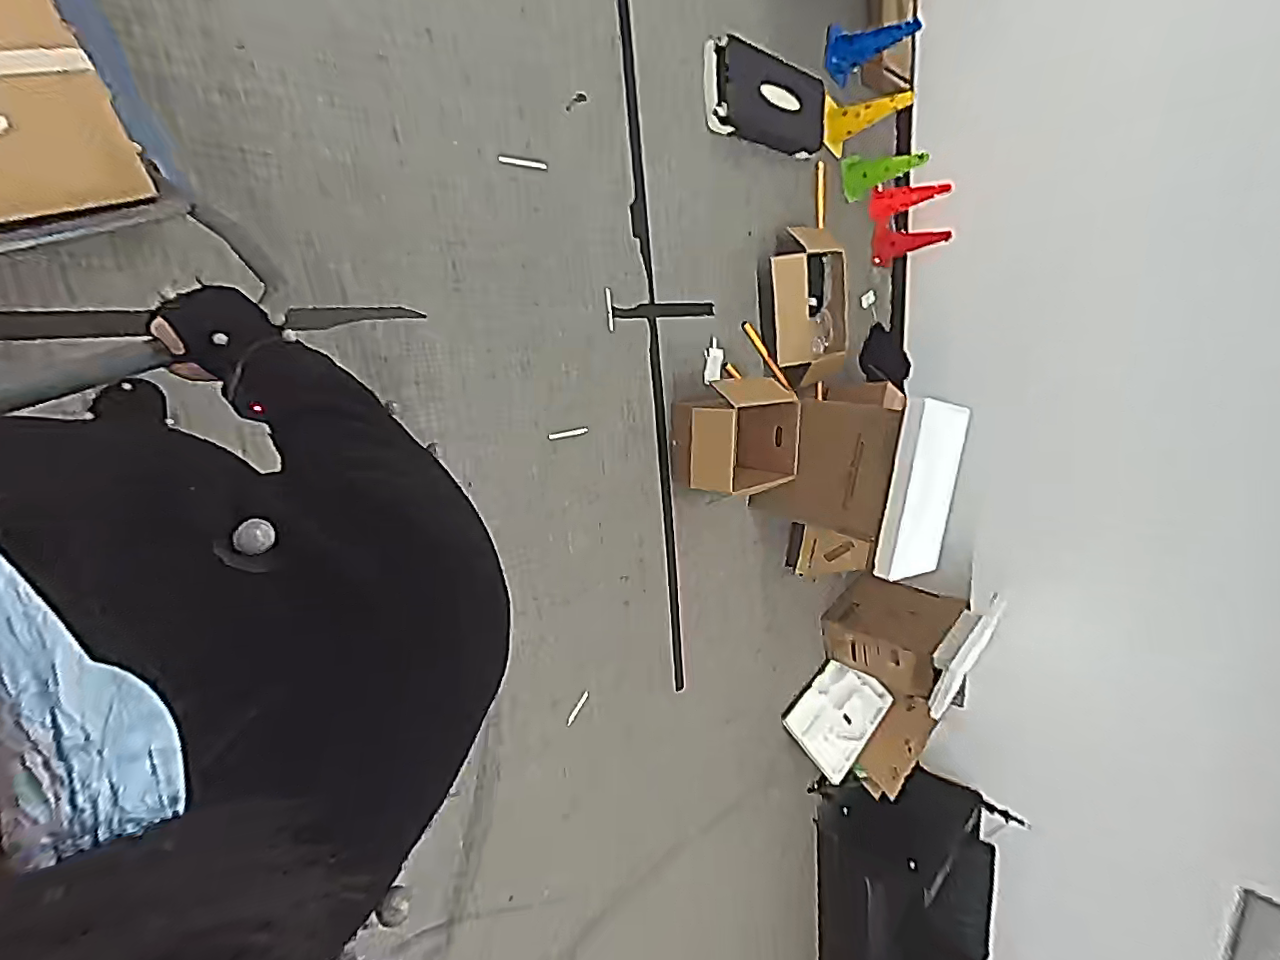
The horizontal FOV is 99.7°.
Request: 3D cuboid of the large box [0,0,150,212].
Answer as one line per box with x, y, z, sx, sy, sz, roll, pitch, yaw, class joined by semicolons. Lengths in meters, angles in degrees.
-0.949;-0.504;0.656;0.408;0.320;0.320;-35;139;-33;large box
